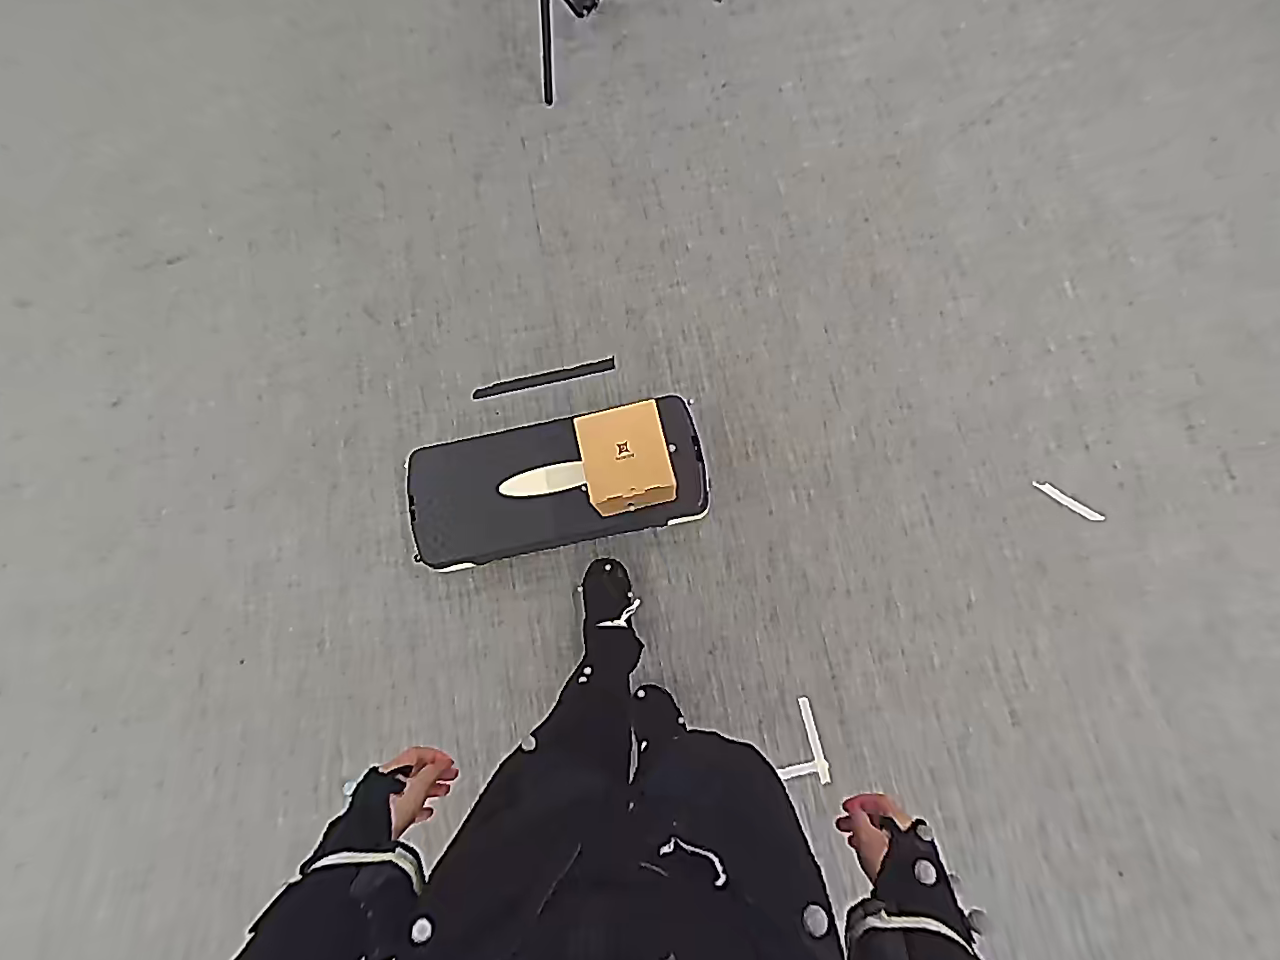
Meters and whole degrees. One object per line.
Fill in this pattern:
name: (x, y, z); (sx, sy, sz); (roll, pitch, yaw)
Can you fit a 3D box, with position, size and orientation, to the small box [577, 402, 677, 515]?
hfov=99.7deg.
small box: (-0.025, -0.038, 1.111); (0.168, 0.176, 0.179); (-14, 79, 0)
